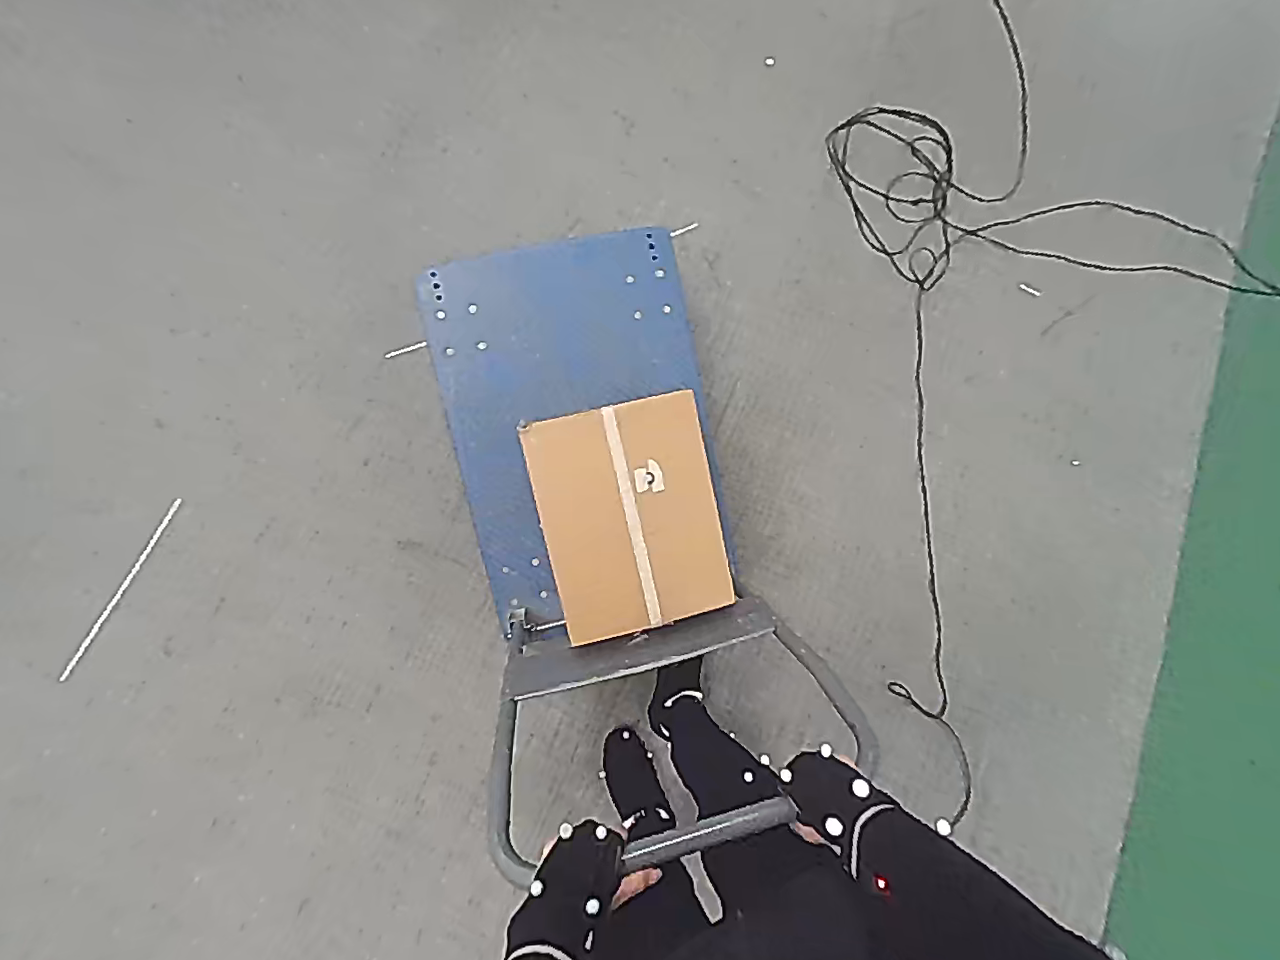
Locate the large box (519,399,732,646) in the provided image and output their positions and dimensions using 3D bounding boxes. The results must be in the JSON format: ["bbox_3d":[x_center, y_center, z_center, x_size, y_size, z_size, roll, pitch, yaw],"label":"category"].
[{"bbox_3d":[-0.035,0.069,1.130,0.320,0.320,0.408,-14,96,-6],"label":"large box"}]
